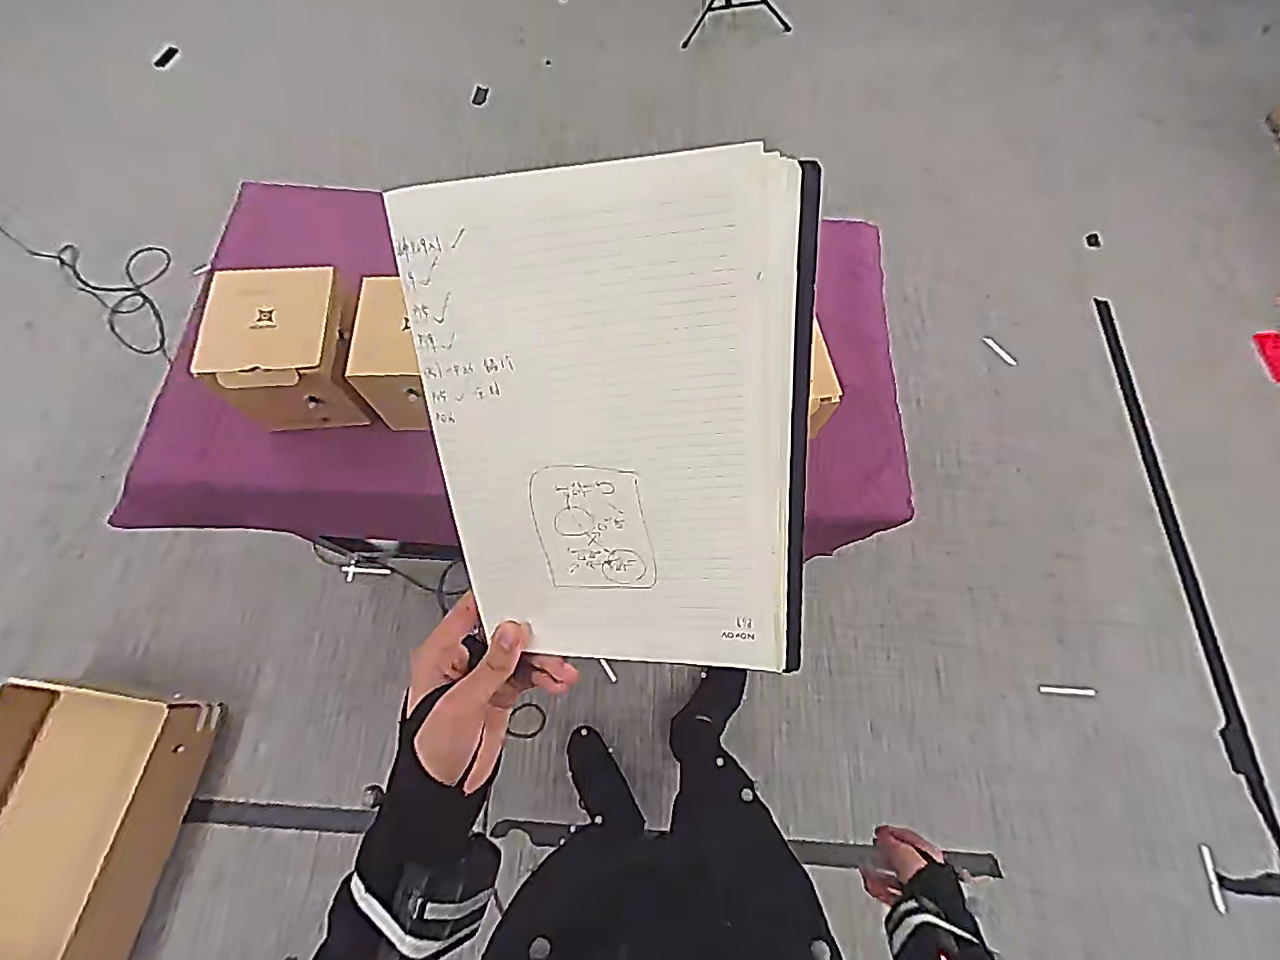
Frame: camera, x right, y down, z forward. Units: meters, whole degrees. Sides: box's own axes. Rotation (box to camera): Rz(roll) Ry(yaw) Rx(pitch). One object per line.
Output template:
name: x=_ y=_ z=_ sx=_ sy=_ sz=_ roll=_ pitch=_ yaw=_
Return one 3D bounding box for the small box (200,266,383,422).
small box: x=-0.512 y=-0.197 z=0.824 sx=0.168 sy=0.176 sz=0.179 roll=-3 pitch=69 yaw=-4
